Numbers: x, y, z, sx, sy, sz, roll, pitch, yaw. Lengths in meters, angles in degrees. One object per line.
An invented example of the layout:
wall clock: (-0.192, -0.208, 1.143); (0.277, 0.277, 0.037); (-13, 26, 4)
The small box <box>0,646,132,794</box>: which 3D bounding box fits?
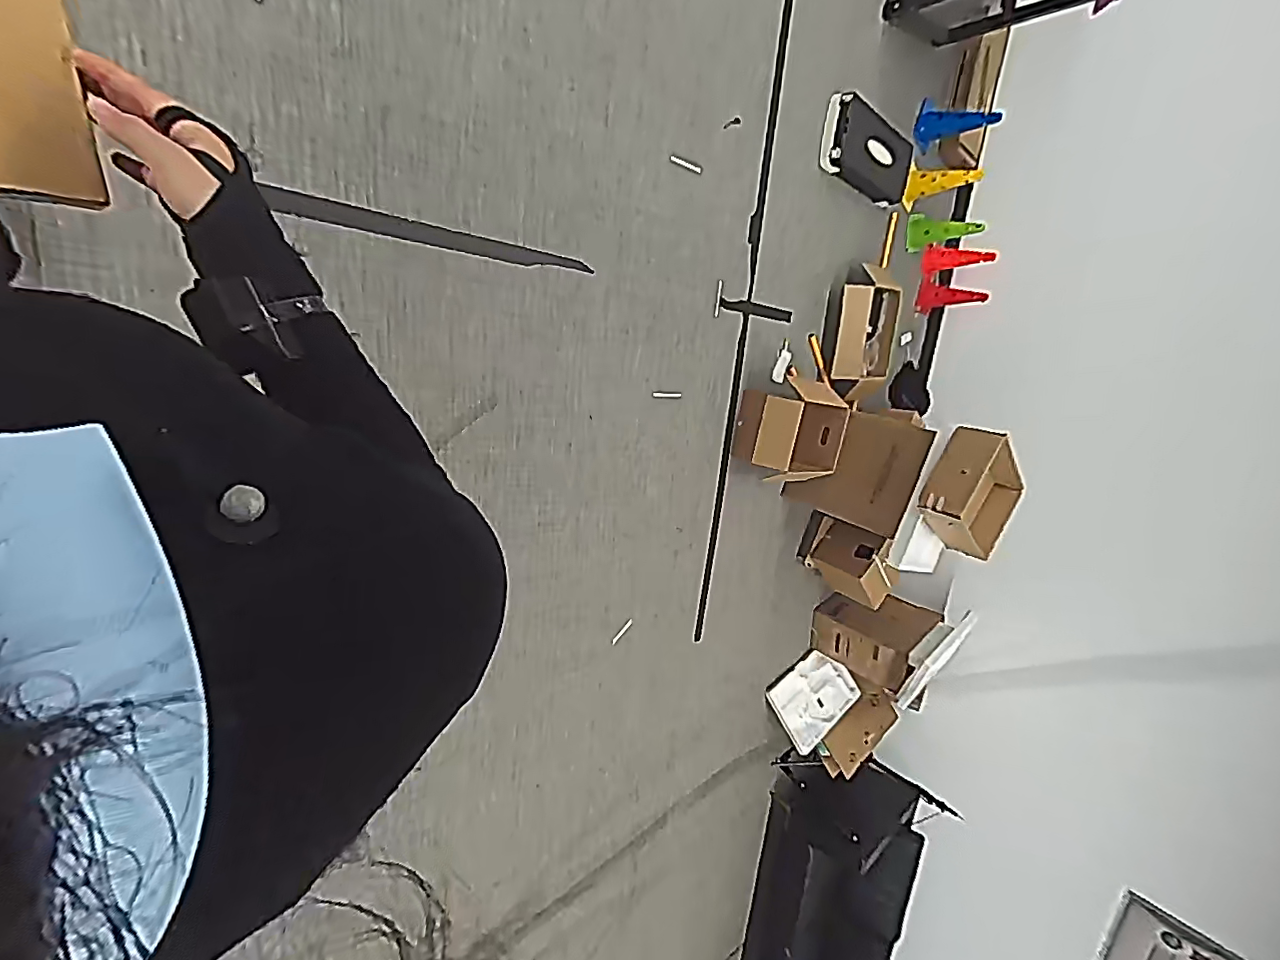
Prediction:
small box: (-1.159, 0.470, 1.086); (0.168, 0.176, 0.179); (-21, 119, -38)
